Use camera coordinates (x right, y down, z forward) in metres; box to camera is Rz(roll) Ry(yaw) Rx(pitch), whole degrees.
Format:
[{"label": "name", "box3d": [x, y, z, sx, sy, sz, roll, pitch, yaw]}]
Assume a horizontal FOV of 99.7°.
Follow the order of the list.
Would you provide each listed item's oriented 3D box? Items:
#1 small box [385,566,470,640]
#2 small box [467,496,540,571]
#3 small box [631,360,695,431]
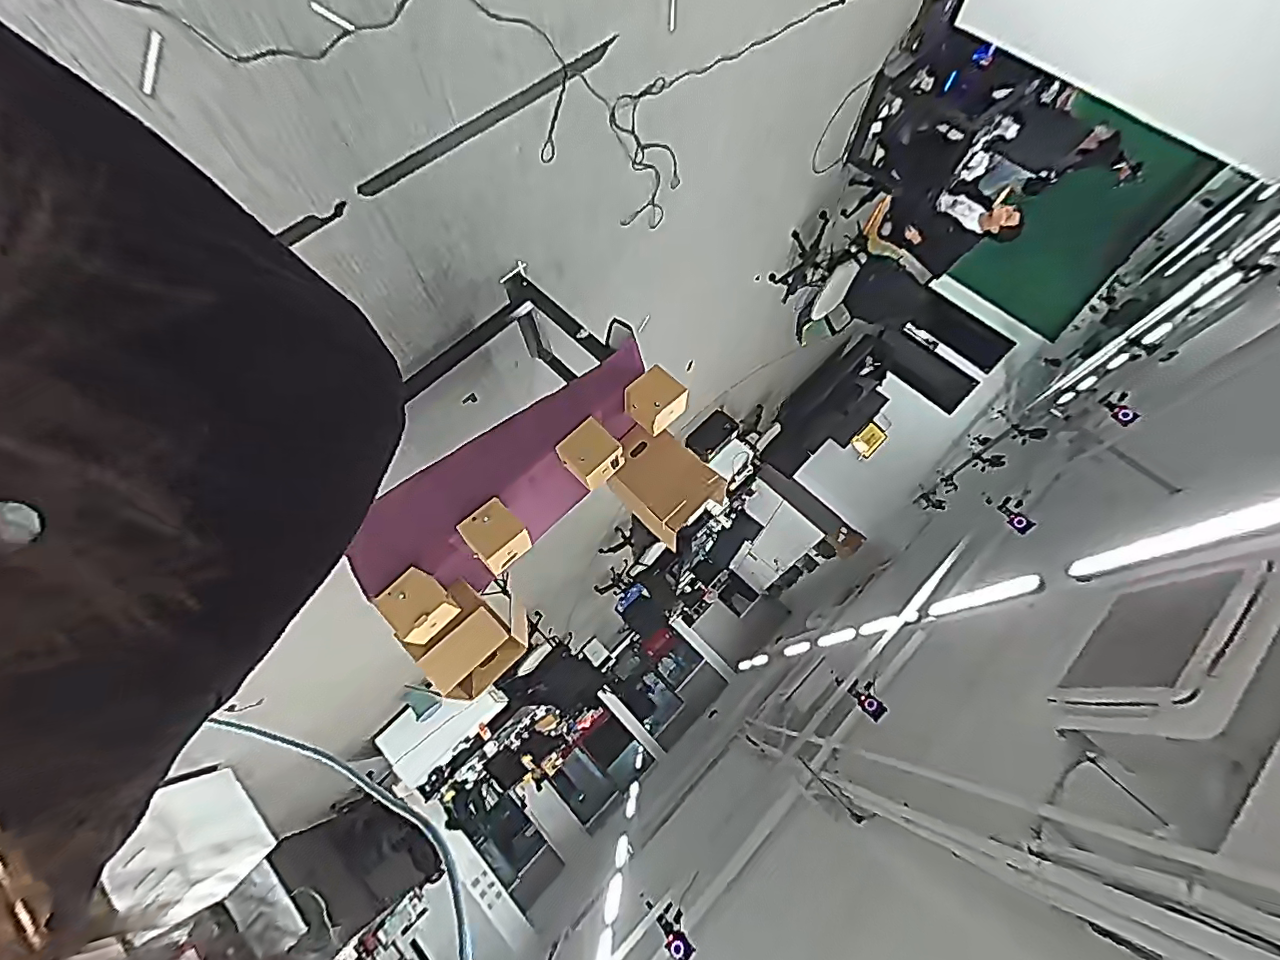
[{"label": "small box", "box3d": [-0.706, 0.409, 1.805, 0.168, 0.176, 0.179, -44, 164, -14]}, {"label": "small box", "box3d": [-0.471, 0.184, 1.878, 0.168, 0.176, 0.179, -41, 162, -20]}, {"label": "small box", "box3d": [0.086, -0.329, 2.085, 0.179, 0.176, 0.168, -41, 163, -15]}]
